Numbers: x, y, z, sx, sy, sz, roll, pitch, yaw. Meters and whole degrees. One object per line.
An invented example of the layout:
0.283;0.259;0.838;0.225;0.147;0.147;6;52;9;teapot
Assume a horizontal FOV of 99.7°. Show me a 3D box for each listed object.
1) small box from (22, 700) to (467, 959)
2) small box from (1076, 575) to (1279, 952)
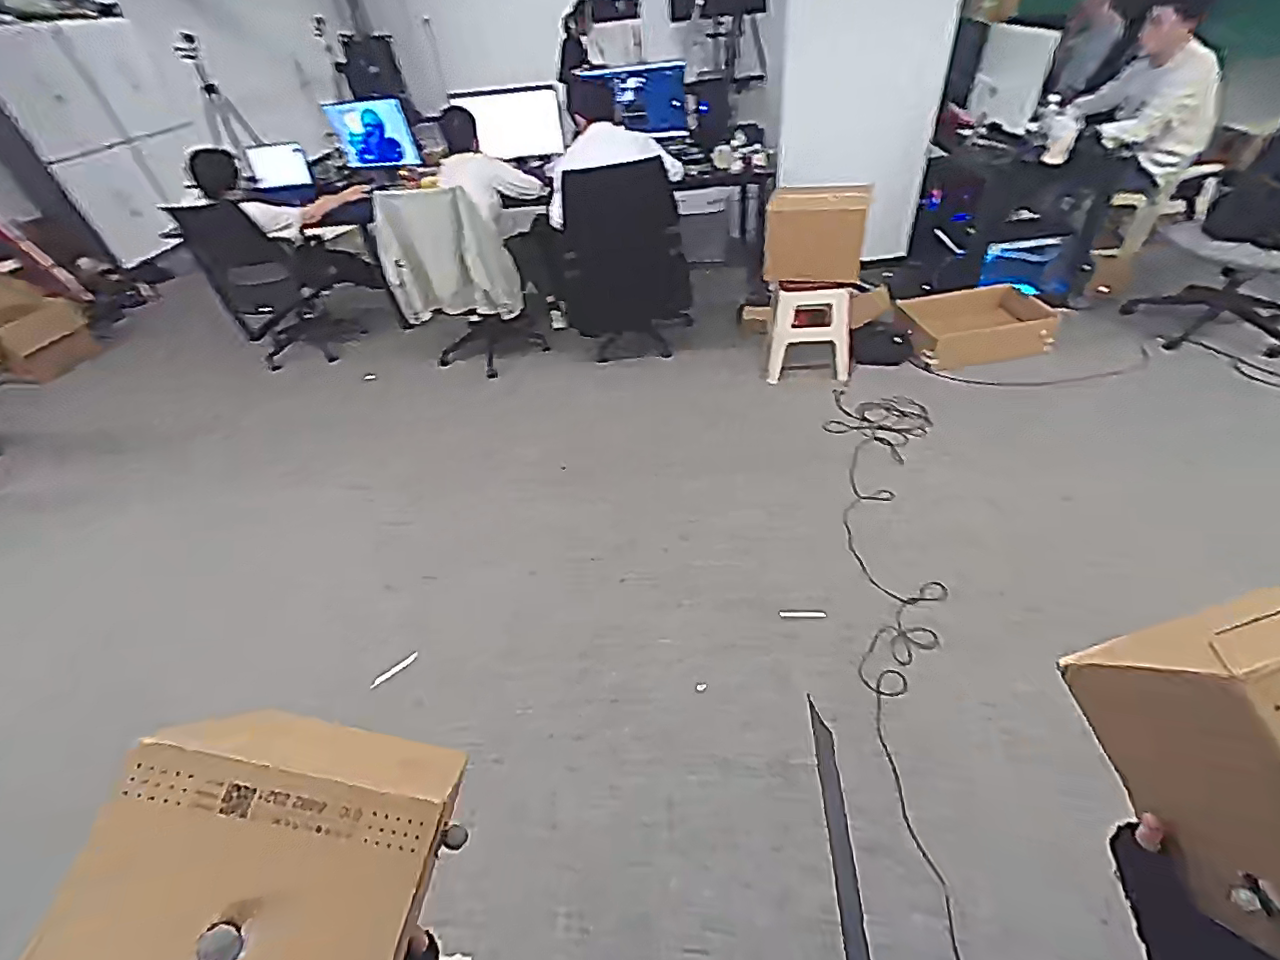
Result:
-0.221;0.243;0.339;0.168;0.179;0.176;17;67;-6;small box
0.391;0.145;0.286;0.168;0.179;0.176;-21;71;7;small box
